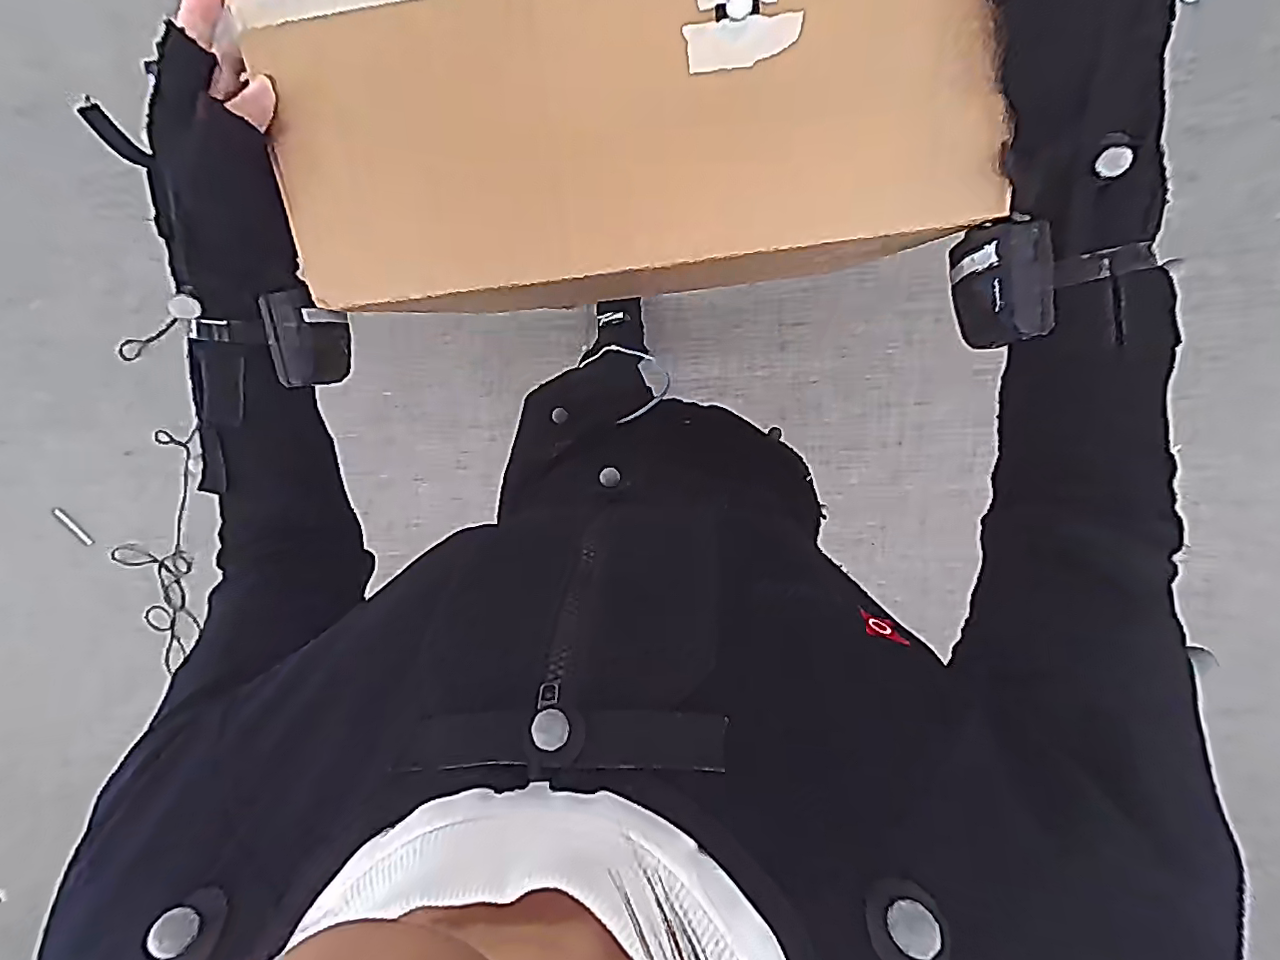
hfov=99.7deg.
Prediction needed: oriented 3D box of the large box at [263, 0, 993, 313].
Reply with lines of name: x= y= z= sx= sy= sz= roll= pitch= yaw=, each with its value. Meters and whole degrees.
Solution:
large box: x=-0.009 y=-0.322 z=0.431 sx=0.408 sy=0.320 sz=0.320 roll=-6 pitch=106 yaw=6
